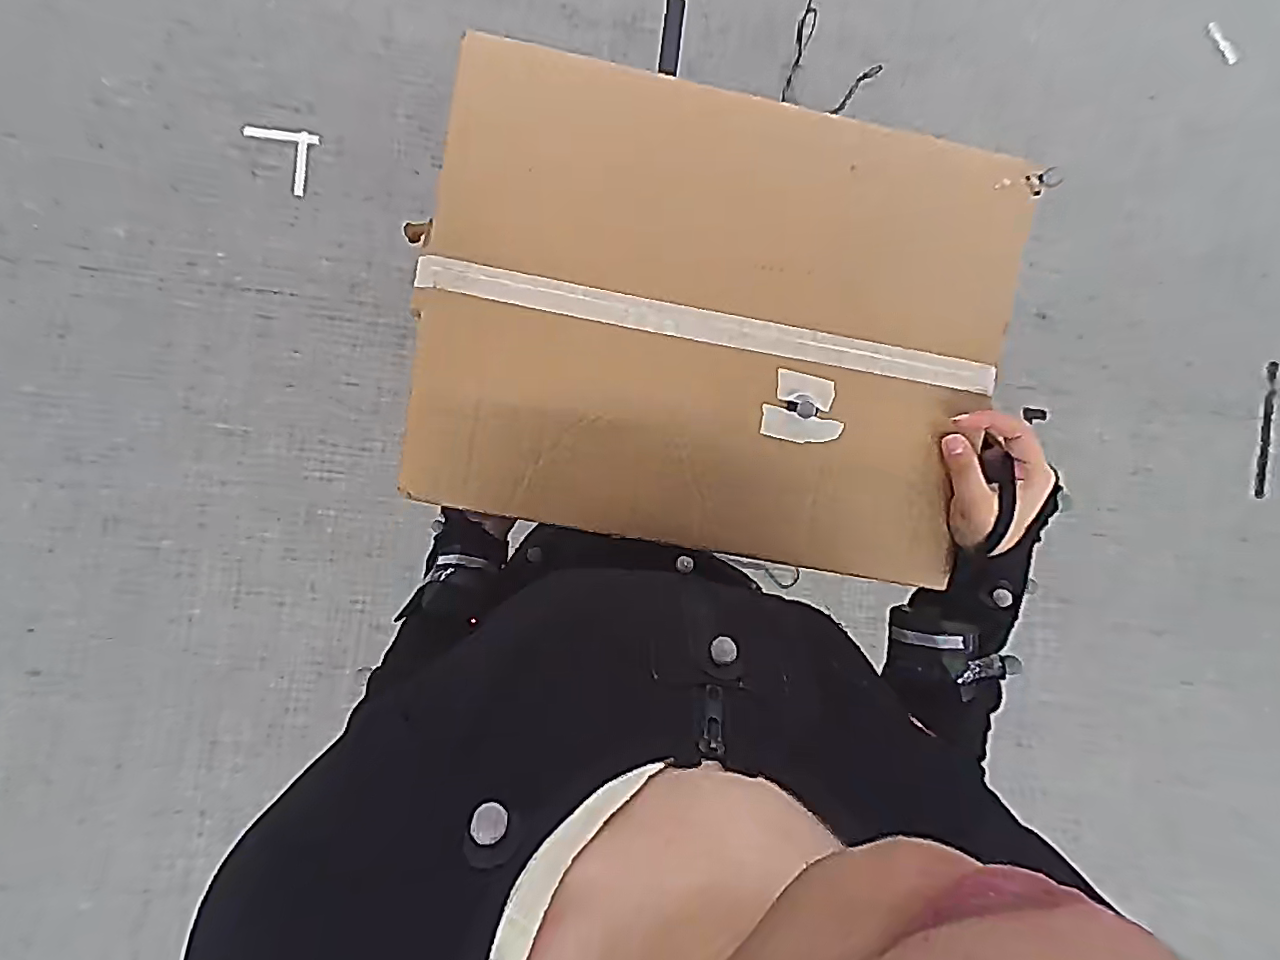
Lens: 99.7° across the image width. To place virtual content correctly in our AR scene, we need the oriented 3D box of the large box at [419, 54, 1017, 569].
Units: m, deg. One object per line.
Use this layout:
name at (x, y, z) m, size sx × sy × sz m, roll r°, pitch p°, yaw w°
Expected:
large box at (0.047, -0.121, 0.536) m, size 0.408 × 0.320 × 0.320 m, roll 9°, pitch 95°, yaw -5°
